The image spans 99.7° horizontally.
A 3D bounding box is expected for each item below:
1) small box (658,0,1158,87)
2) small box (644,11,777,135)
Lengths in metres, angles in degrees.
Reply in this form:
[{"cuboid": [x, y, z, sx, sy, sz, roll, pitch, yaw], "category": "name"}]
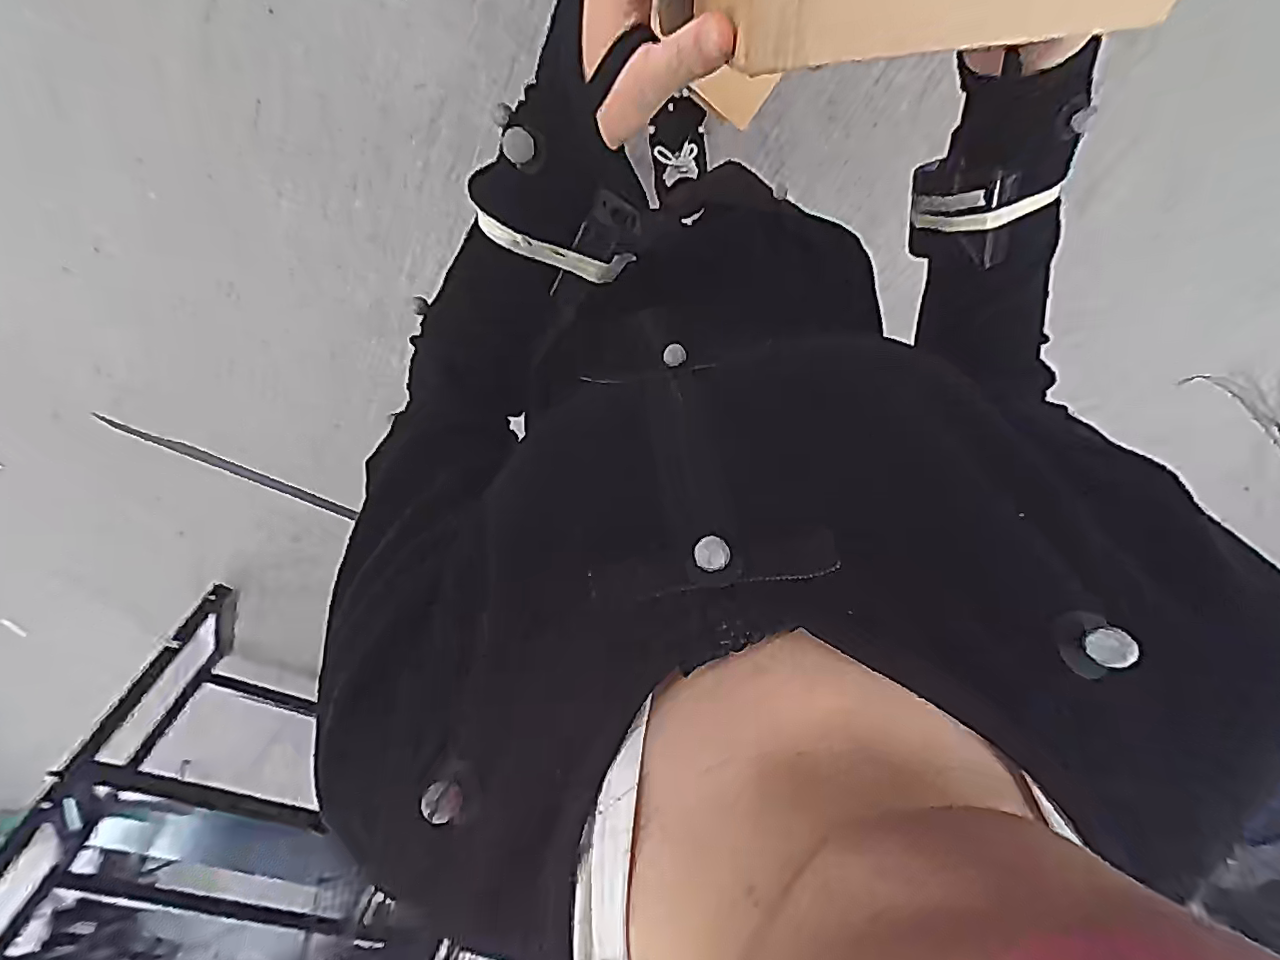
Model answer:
[{"cuboid": [0.097, -0.276, 0.208, 0.168, 0.176, 0.179, -10, 134, -4], "category": "small box"}, {"cuboid": [0.123, -0.624, 0.757, 0.179, 0.176, 0.168, 30, 124, -19], "category": "small box"}]
